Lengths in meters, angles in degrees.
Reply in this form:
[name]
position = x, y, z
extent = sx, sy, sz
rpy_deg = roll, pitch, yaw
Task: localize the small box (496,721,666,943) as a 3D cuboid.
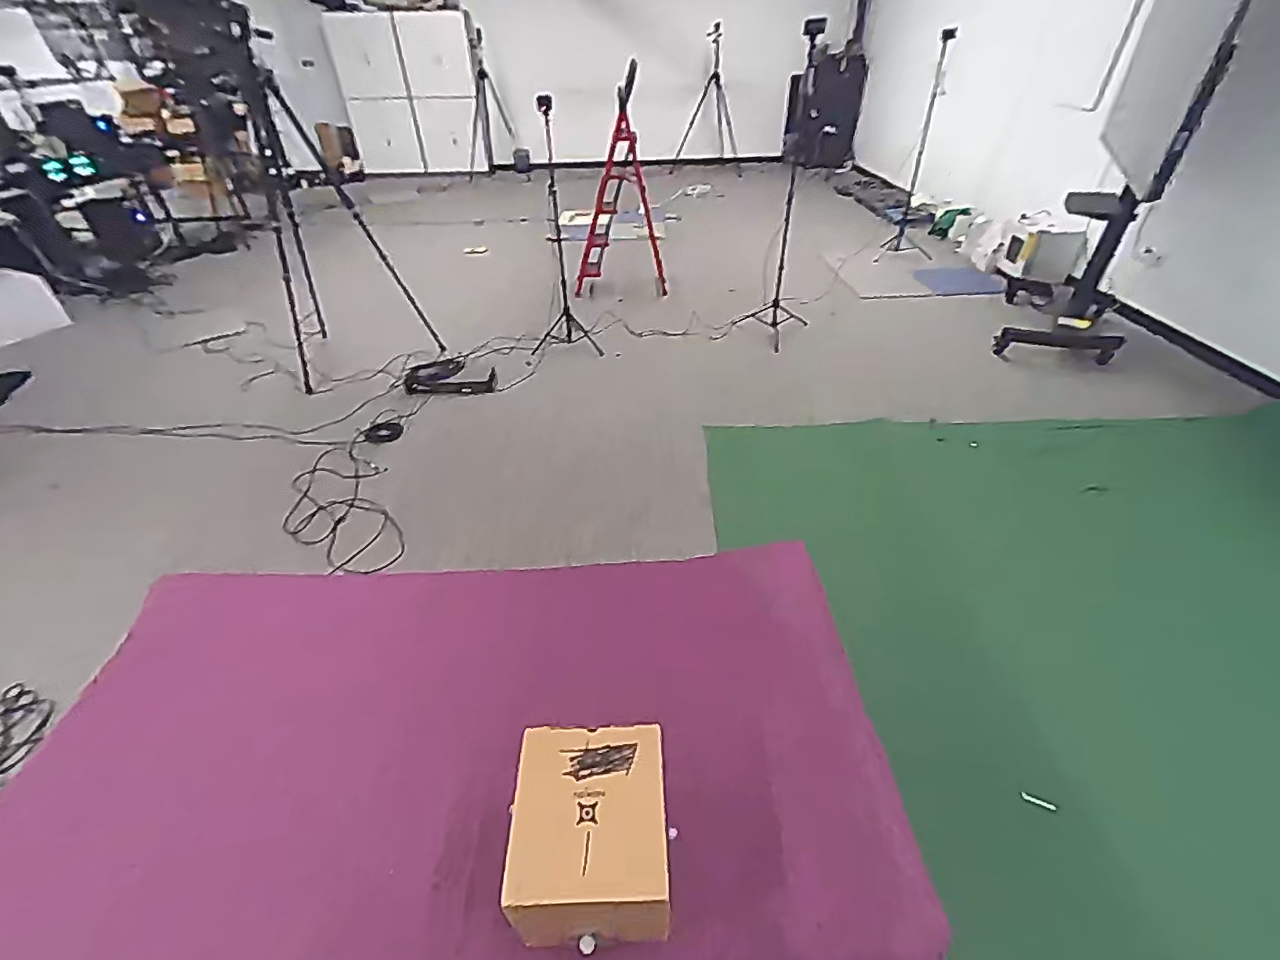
[small box]
position = -0.057, 0.406, 0.630
extent = 0.168, 0.176, 0.179
rpy_deg = -2, 39, 0
